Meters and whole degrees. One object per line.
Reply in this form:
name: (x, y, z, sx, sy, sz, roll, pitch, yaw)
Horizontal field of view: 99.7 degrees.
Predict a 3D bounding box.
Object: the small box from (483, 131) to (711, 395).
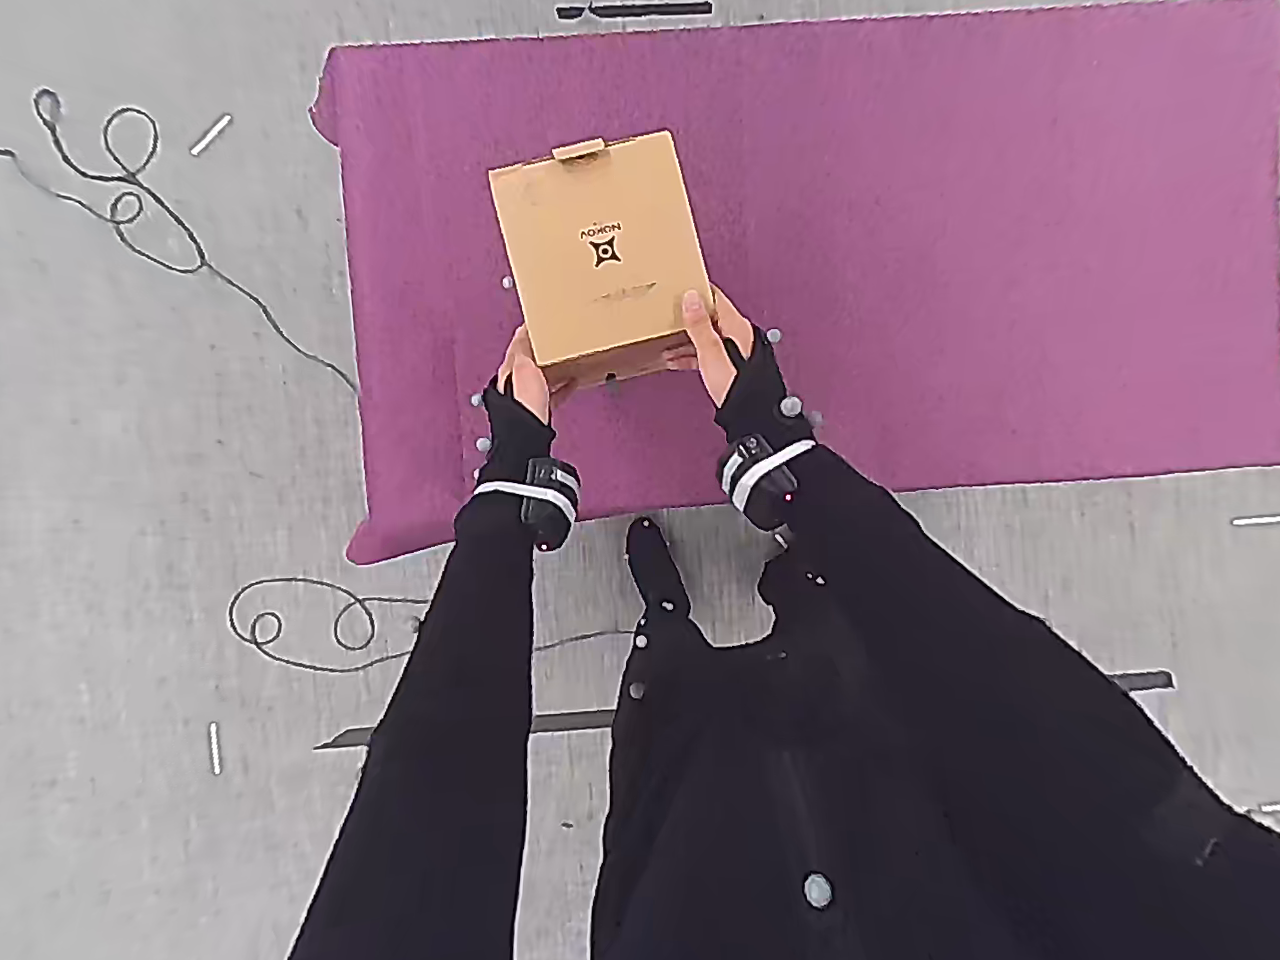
small box: (-0.041, -0.198, 0.541, 0.168, 0.176, 0.179, -14, 90, -2)
